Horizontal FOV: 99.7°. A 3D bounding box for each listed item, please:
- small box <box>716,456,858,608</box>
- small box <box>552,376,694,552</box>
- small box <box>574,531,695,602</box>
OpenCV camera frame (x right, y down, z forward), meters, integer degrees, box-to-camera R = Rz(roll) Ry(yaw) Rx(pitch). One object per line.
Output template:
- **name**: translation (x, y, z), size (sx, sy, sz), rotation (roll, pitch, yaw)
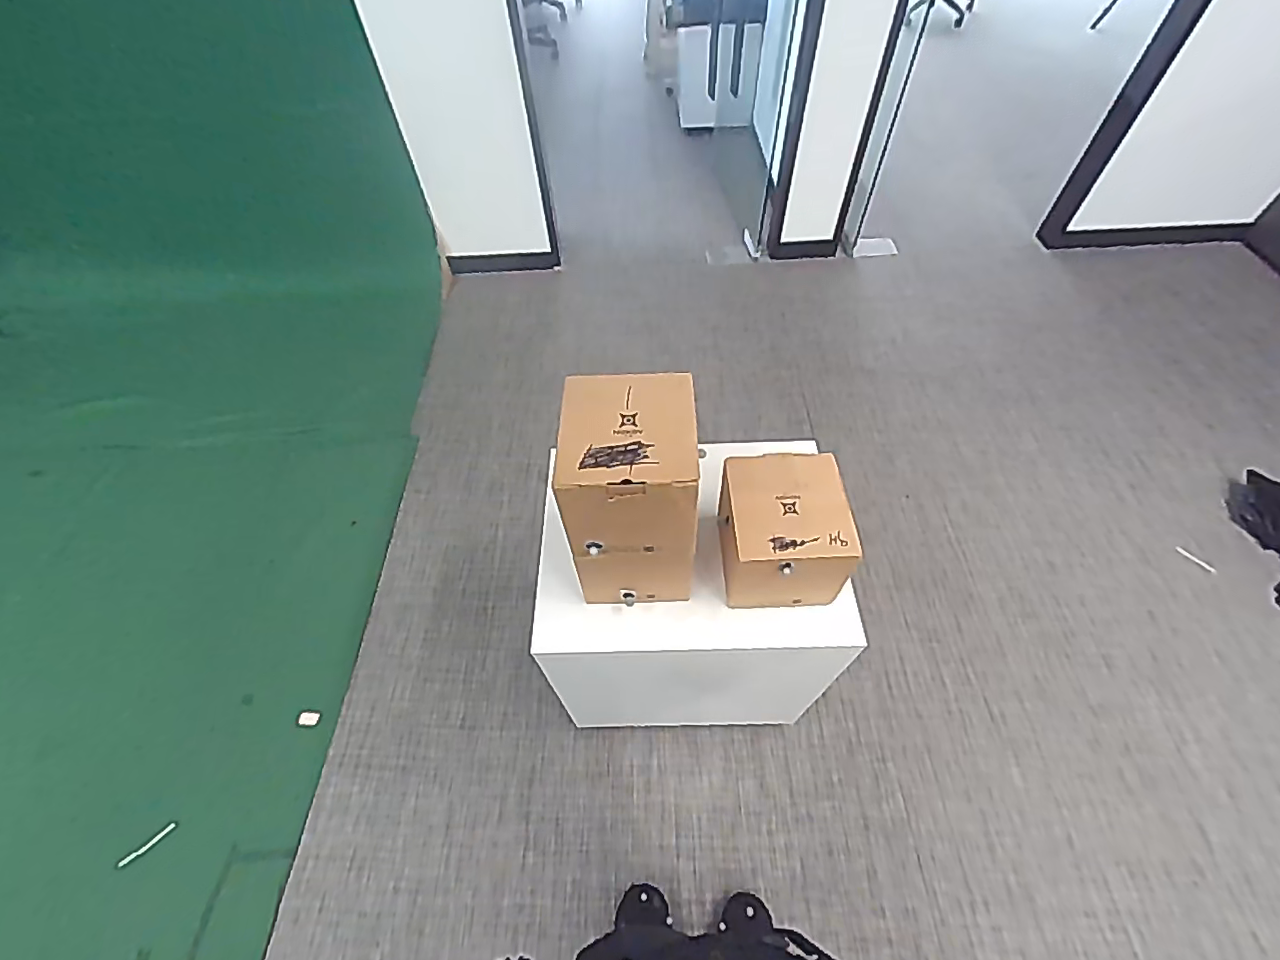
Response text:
- **small box**: translation (0.212, 0.082, 0.836), size (0.168, 0.176, 0.179), rotation (-2, 53, 1)
- **small box**: translation (-0.013, -0.015, 0.718), size (0.168, 0.176, 0.179), rotation (-1, 53, 3)
- **small box**: translation (-0.008, 0.072, 0.837), size (0.168, 0.176, 0.179), rotation (-4, 55, 1)
